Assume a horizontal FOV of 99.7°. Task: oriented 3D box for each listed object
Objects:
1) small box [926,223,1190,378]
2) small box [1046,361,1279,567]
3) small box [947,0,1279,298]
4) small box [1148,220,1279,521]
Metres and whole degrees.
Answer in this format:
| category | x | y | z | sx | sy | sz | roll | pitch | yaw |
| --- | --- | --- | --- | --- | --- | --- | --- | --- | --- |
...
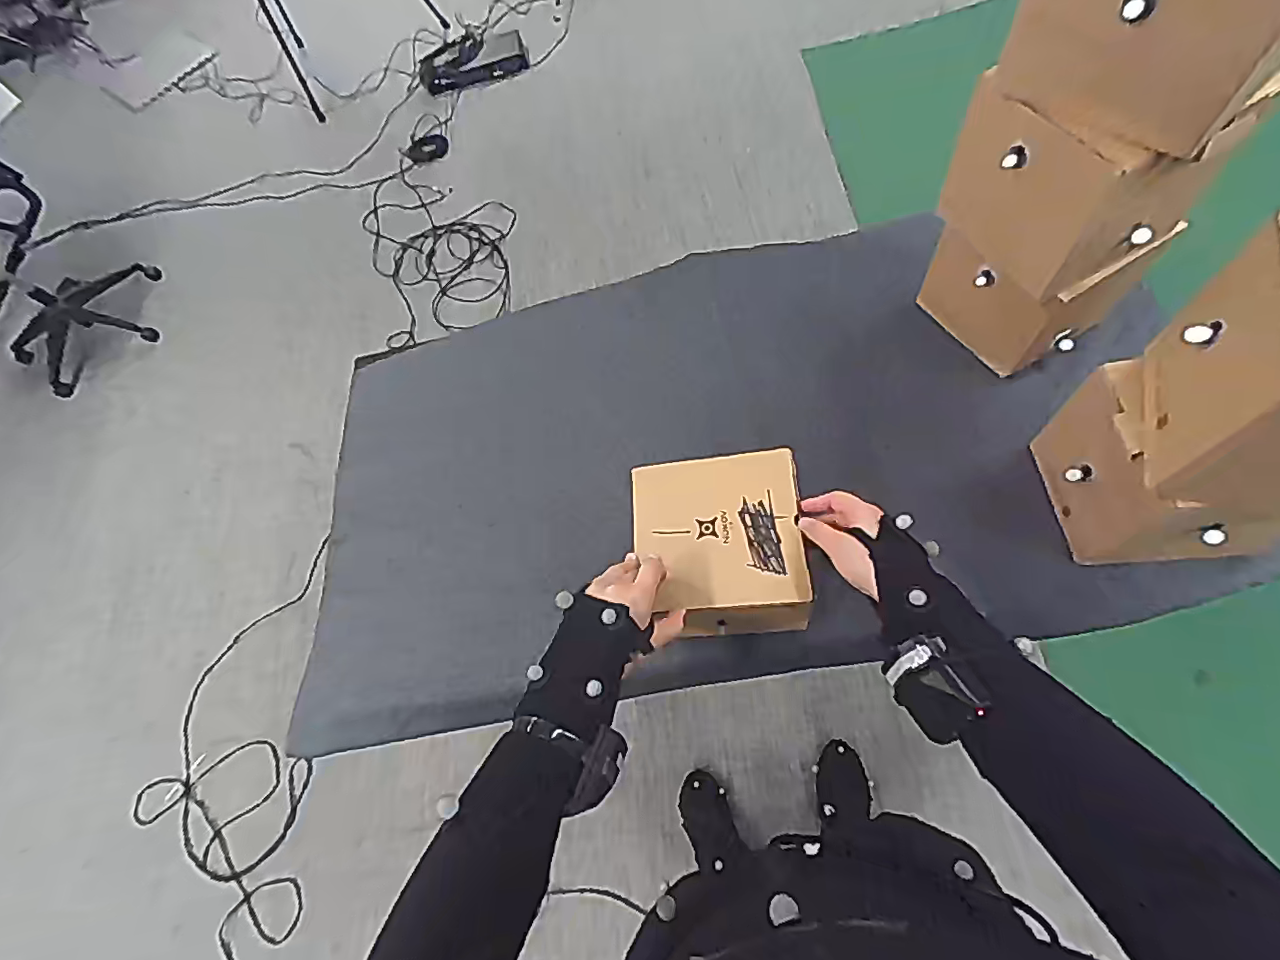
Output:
| category | x | y | z | sx | sy | sz | roll | pitch | yaw |
| --- | --- | --- | --- | --- | --- | --- | --- | --- | --- |
| small box | 0.507 | -0.267 | 0.694 | 0.168 | 0.176 | 0.179 | -32 | 66 | 0 |
| small box | 0.568 | -0.013 | 0.567 | 0.179 | 0.176 | 0.168 | -6 | 63 | 10 |
| small box | 0.453 | -0.325 | 0.548 | 0.168 | 0.176 | 0.179 | -29 | 64 | 2 |
| small box | 0.542 | -0.071 | 0.415 | 0.179 | 0.176 | 0.168 | 15 | 68 | 18 |
